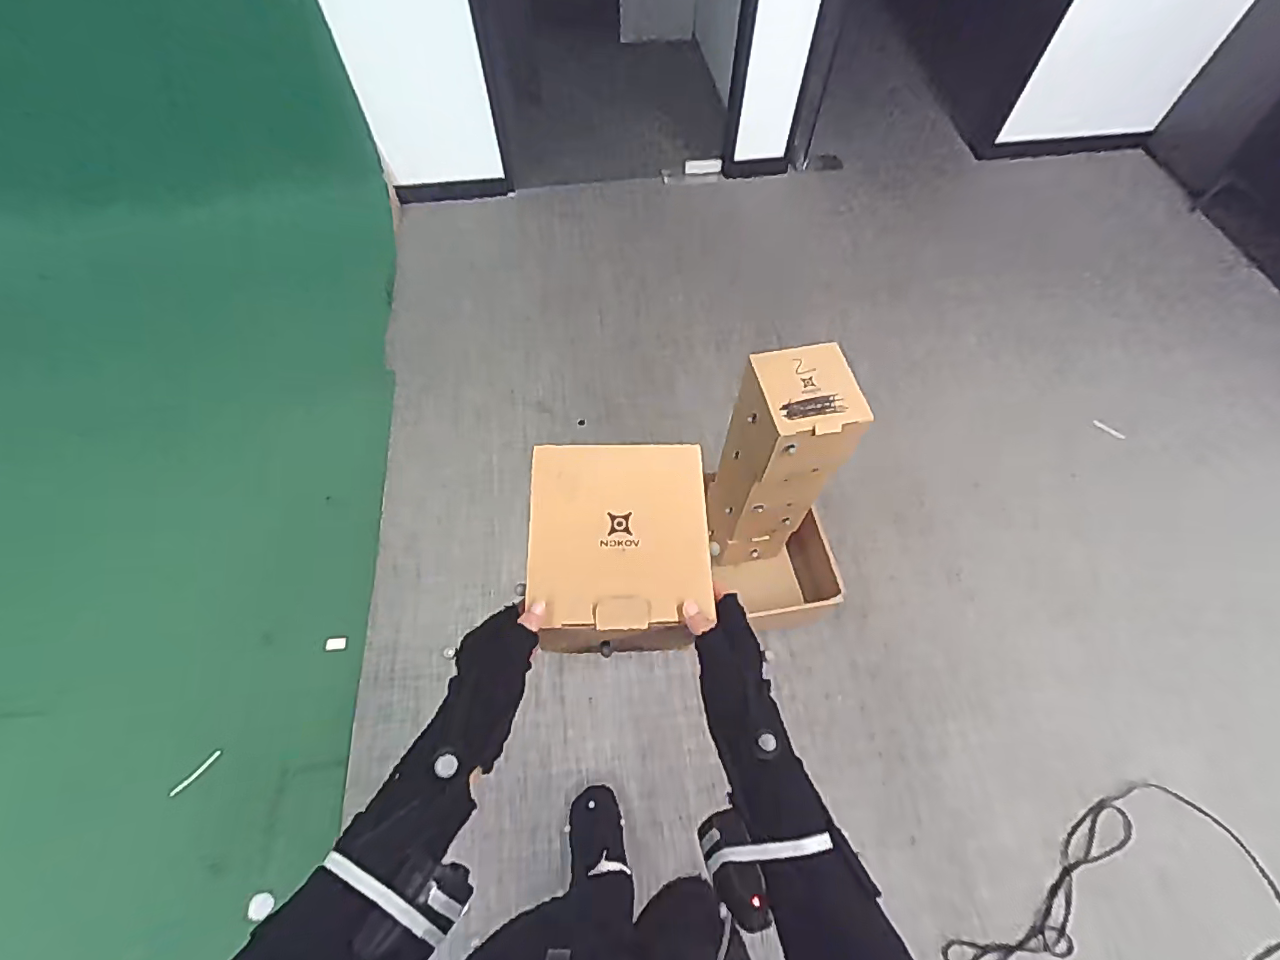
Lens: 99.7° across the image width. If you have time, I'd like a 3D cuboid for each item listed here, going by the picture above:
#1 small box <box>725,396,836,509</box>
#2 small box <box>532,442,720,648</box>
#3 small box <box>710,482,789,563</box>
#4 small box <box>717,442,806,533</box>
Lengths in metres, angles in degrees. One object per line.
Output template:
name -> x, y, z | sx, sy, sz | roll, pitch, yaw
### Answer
small box -> 0.284, -0.050, 1.134 | 0.168, 0.176, 0.179 | -7, 61, -5
small box -> -0.020, 0.075, 0.569 | 0.168, 0.176, 0.179 | 0, 67, -5
small box -> 0.271, 0.106, 1.424 | 0.168, 0.176, 0.179 | -13, 61, -5
small box -> 0.285, 0.014, 1.266 | 0.168, 0.176, 0.179 | -8, 61, -4
